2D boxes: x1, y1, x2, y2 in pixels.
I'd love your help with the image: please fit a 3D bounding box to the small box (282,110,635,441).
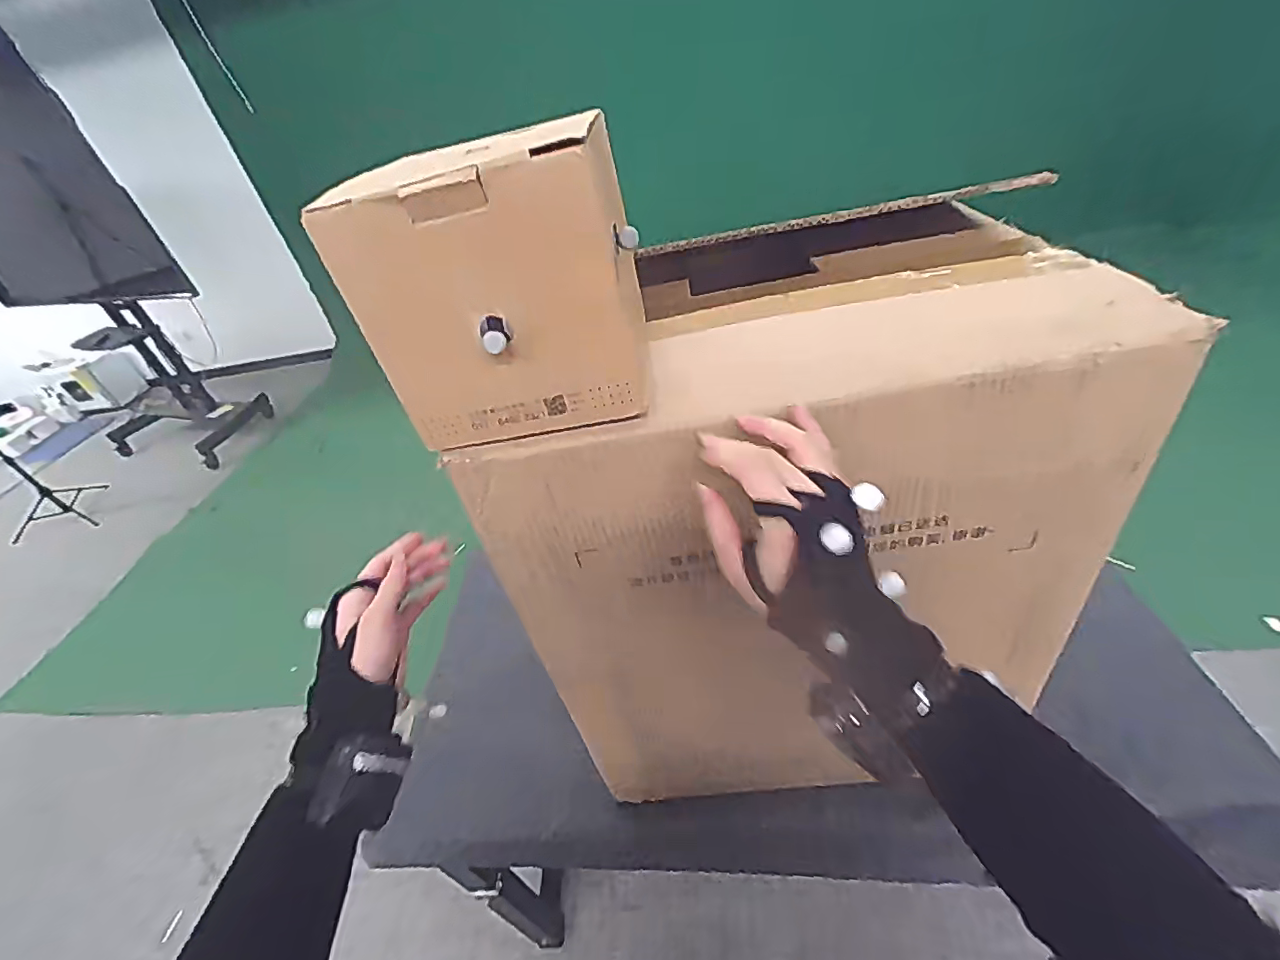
[{"bbox_3d":[-0.100,-0.142,0.396,0.168,0.176,0.179,-9,39,7],"label":"small box"}]
